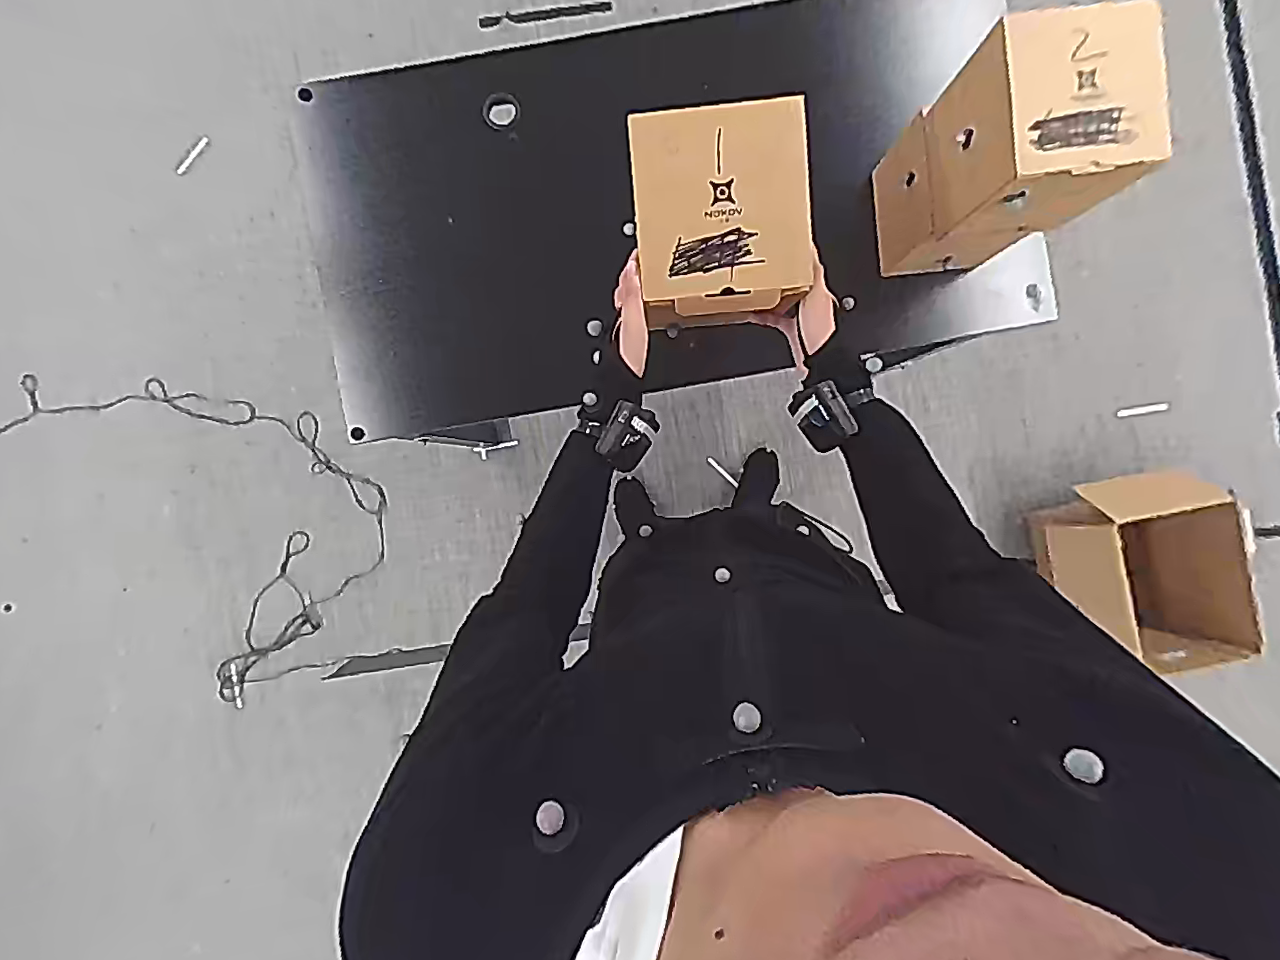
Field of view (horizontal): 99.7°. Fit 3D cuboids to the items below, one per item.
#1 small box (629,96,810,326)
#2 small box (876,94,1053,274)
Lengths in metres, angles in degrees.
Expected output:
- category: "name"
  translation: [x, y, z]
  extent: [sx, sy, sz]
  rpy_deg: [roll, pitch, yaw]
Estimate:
- category: "small box"
  translation: [0.079, -0.267, 0.583]
  extent: [0.168, 0.176, 0.179]
  rpy_deg: [-4, 96, 3]
- category: "small box"
  translation: [0.471, -0.430, 0.810]
  extent: [0.168, 0.176, 0.179]
  rpy_deg: [-5, 91, 1]
